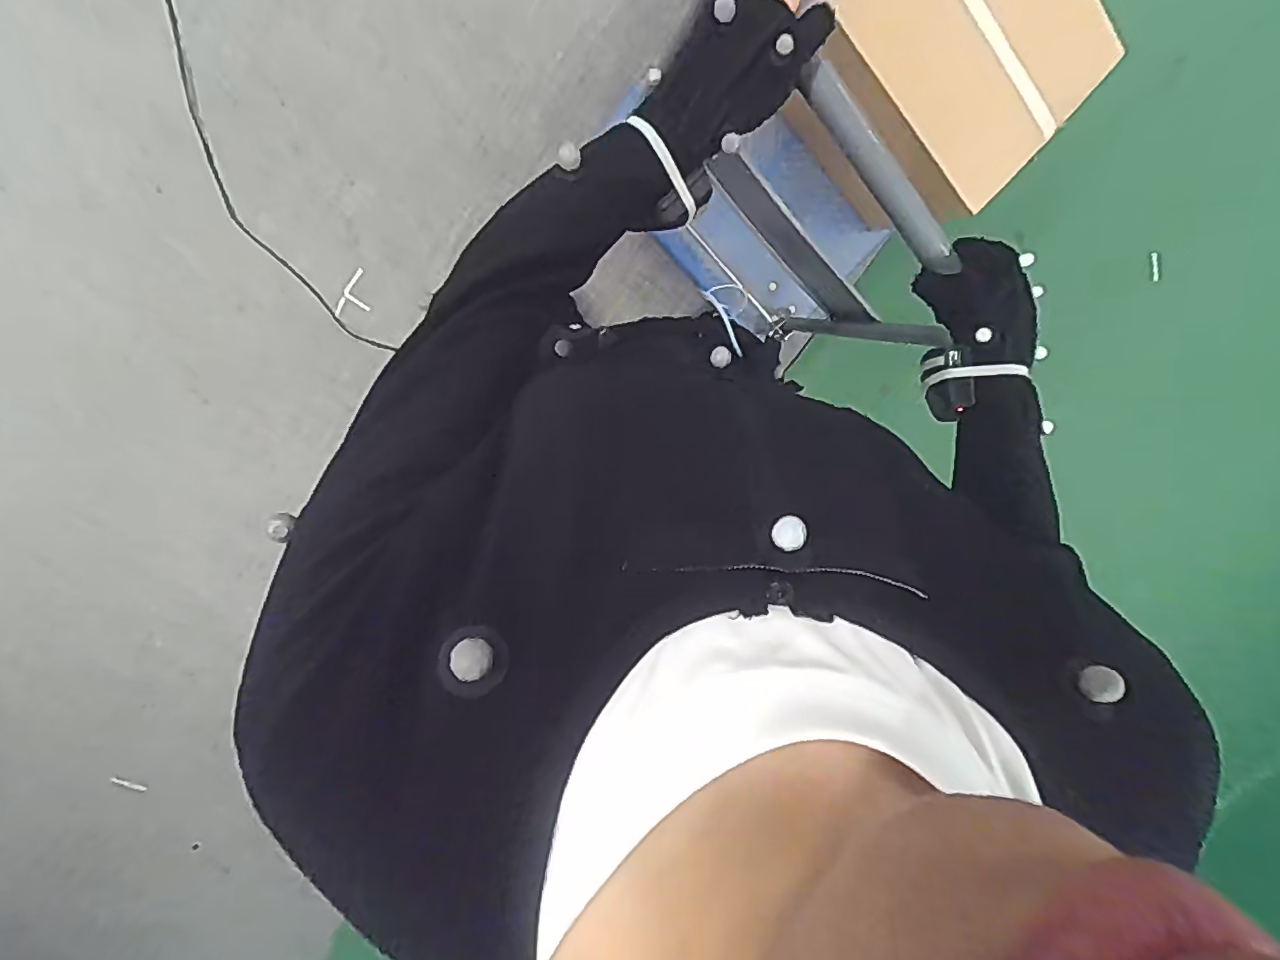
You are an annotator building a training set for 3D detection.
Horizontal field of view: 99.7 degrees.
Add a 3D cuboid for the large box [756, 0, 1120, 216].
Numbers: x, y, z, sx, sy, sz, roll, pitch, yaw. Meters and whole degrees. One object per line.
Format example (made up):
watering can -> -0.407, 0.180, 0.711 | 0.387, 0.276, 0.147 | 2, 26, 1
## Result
large box -> 0.483, -0.738, 0.944 | 0.408, 0.320, 0.320 | 38, 101, -19
